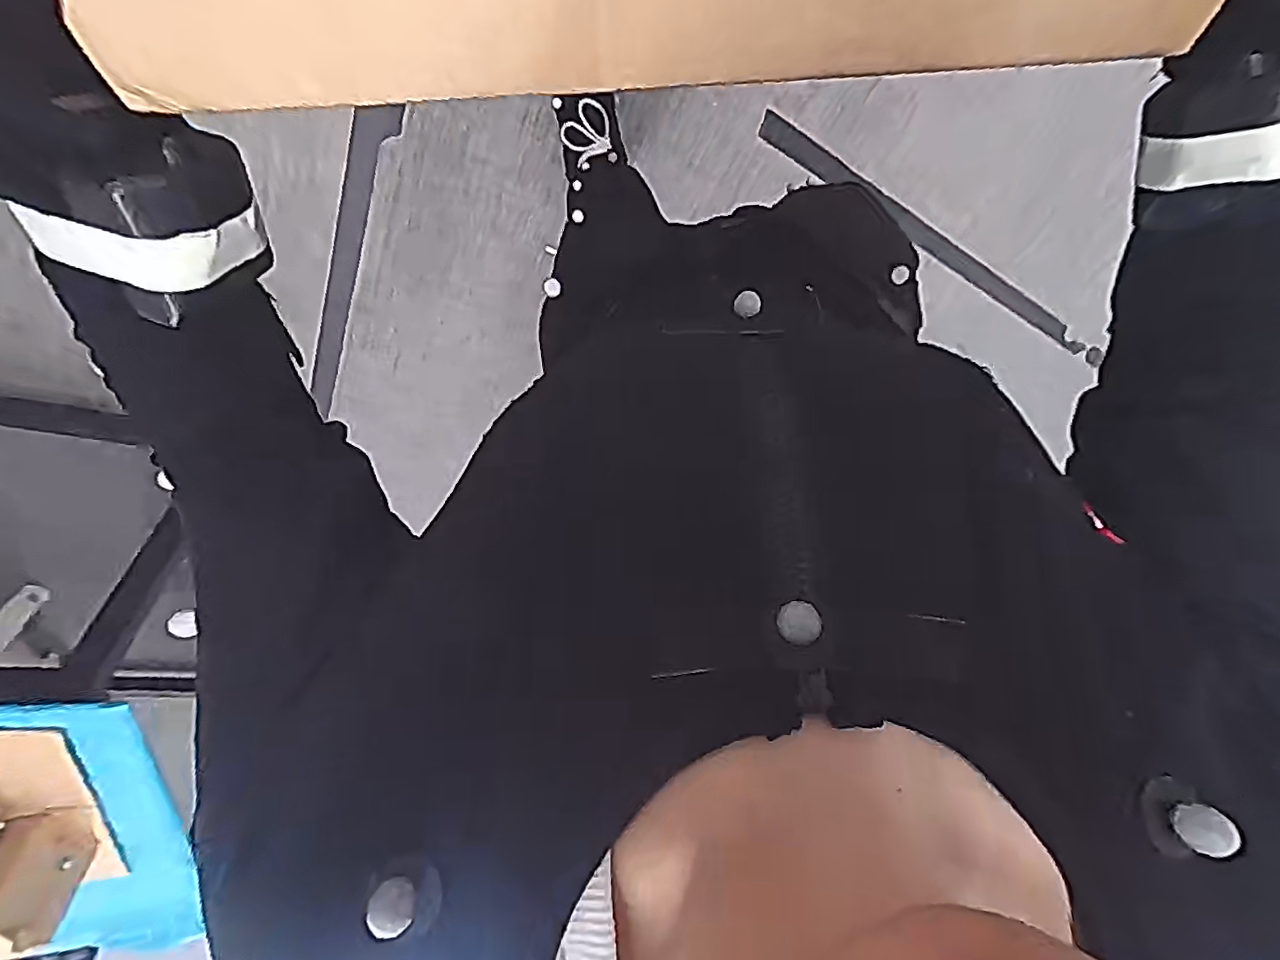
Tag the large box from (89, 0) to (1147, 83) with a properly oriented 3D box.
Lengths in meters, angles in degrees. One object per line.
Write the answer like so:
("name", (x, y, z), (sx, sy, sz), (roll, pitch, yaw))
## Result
("large box", (-0.006, -0.377, 0.171), (0.408, 0.320, 0.320), (-7, 144, -5))
